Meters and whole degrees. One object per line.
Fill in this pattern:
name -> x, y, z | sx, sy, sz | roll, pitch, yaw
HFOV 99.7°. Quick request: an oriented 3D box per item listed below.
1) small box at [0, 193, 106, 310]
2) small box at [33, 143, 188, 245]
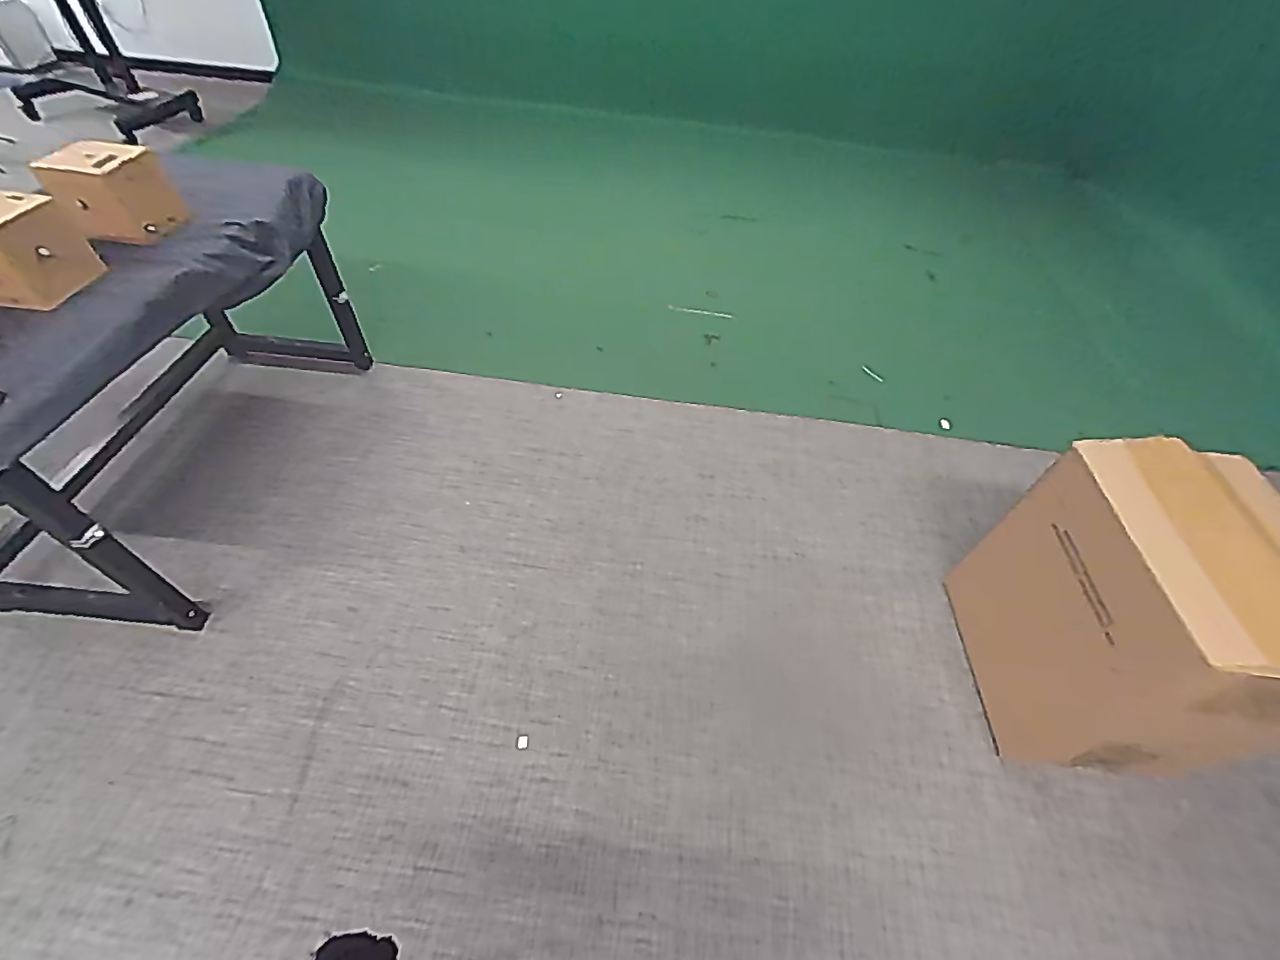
small box -> -1.311, -0.480, 1.143 | 0.168, 0.176, 0.179 | 6, 51, 0
small box -> -1.279, -0.698, 1.326 | 0.179, 0.176, 0.168 | 7, 50, 2
